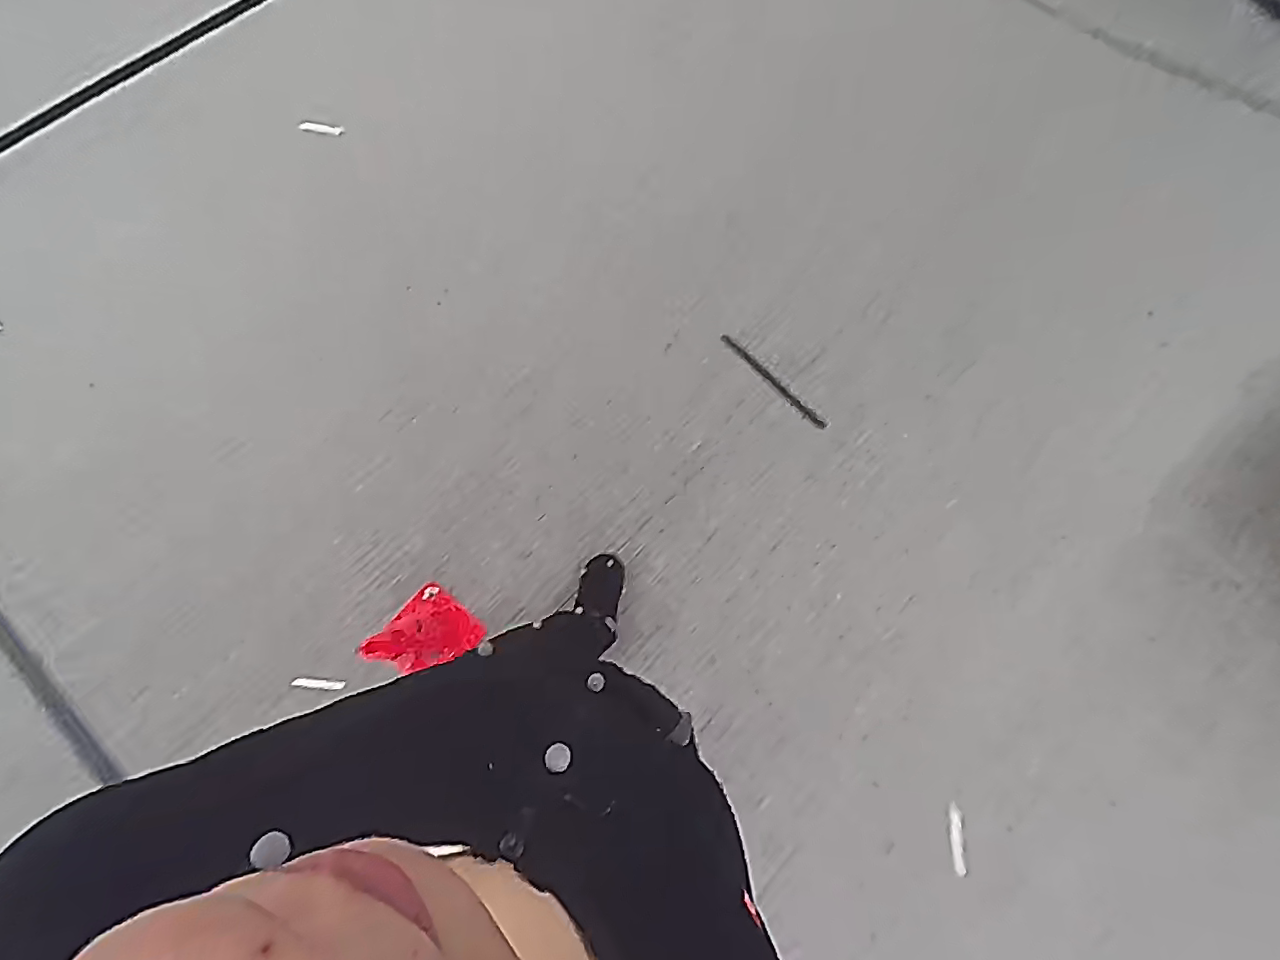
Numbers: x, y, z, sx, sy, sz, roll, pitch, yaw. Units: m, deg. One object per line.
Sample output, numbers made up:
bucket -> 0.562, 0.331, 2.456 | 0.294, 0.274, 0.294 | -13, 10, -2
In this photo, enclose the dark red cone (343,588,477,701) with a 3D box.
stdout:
dark red cone -> -0.501, 0.351, 1.113 | 0.202, 0.394, 0.201 | 38, 79, 5
